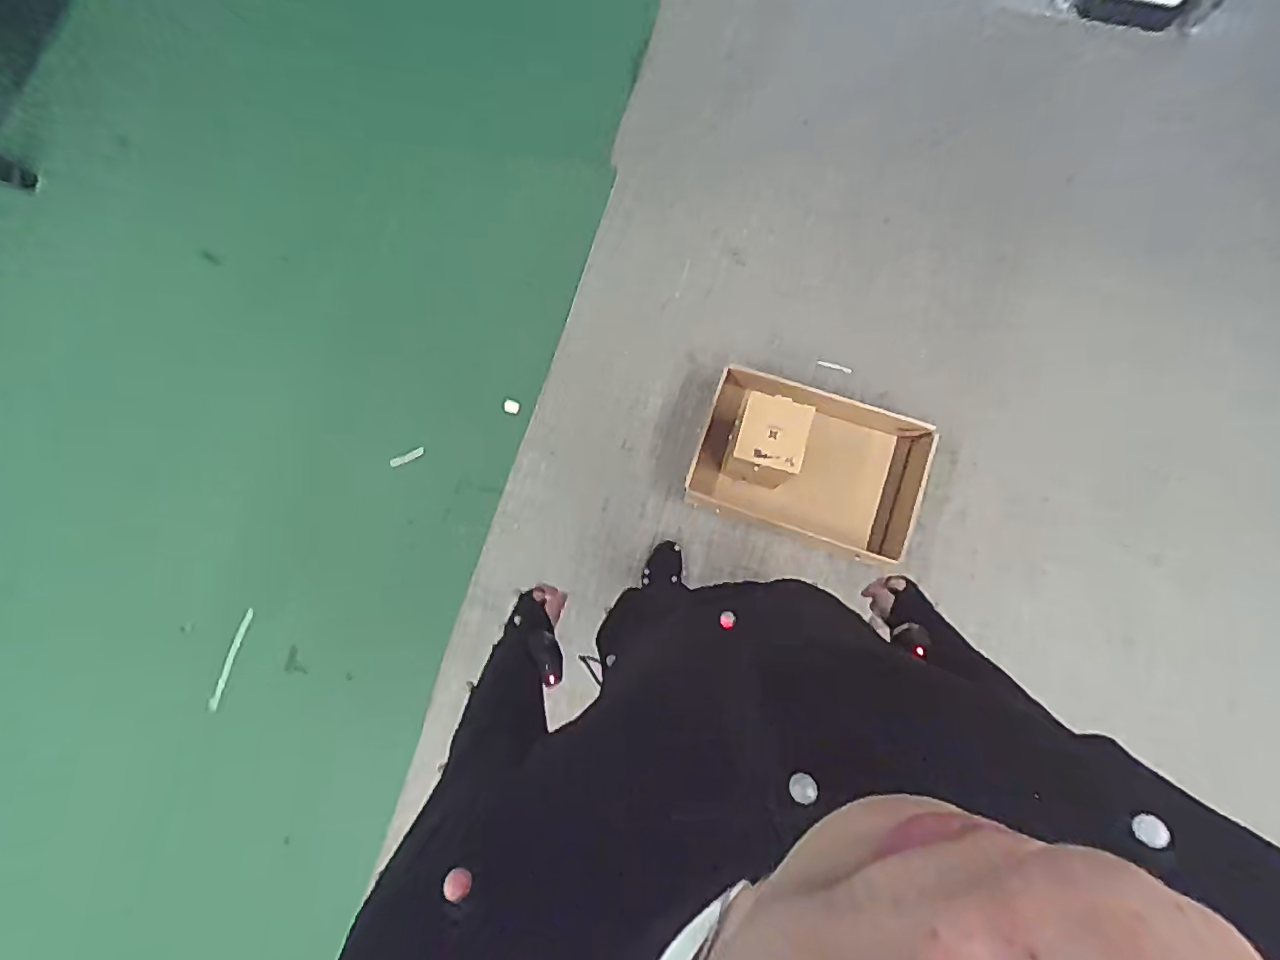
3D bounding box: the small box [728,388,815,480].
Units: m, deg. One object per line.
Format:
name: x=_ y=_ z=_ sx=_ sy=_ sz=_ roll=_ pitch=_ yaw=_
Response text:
small box: x=0.329 y=-0.113 z=1.389 sx=0.168 sy=0.176 sz=0.179 roll=16 pitch=83 yaw=6
